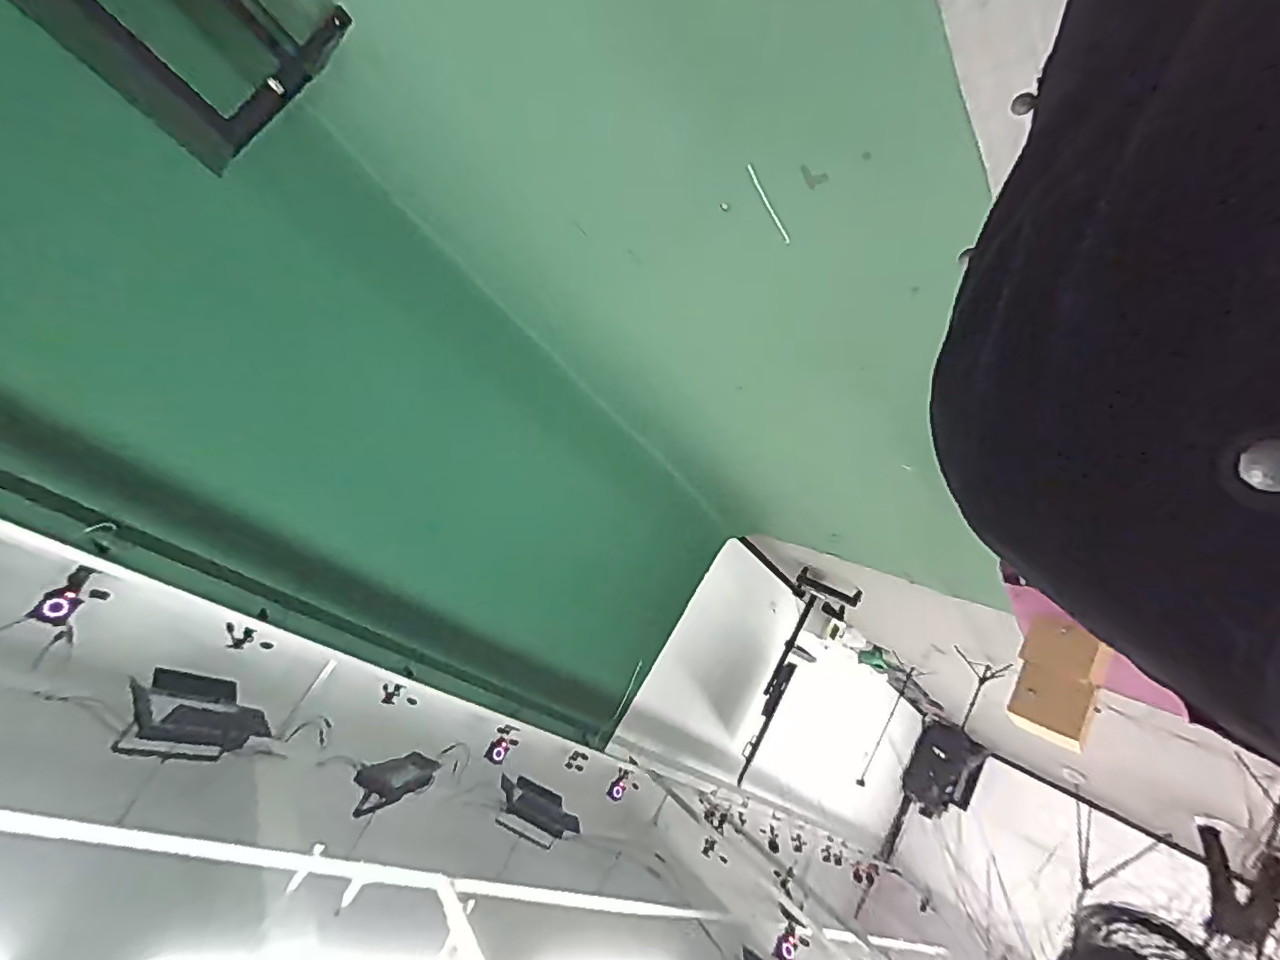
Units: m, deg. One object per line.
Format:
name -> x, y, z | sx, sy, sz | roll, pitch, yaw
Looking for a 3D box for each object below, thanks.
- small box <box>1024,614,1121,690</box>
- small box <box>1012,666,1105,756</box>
small box -> 1.305, 0.528, 1.632 | 0.168, 0.176, 0.179 | 41, 164, -33
small box -> 1.232, 0.669, 1.589 | 0.179, 0.176, 0.168 | 15, 159, 48
